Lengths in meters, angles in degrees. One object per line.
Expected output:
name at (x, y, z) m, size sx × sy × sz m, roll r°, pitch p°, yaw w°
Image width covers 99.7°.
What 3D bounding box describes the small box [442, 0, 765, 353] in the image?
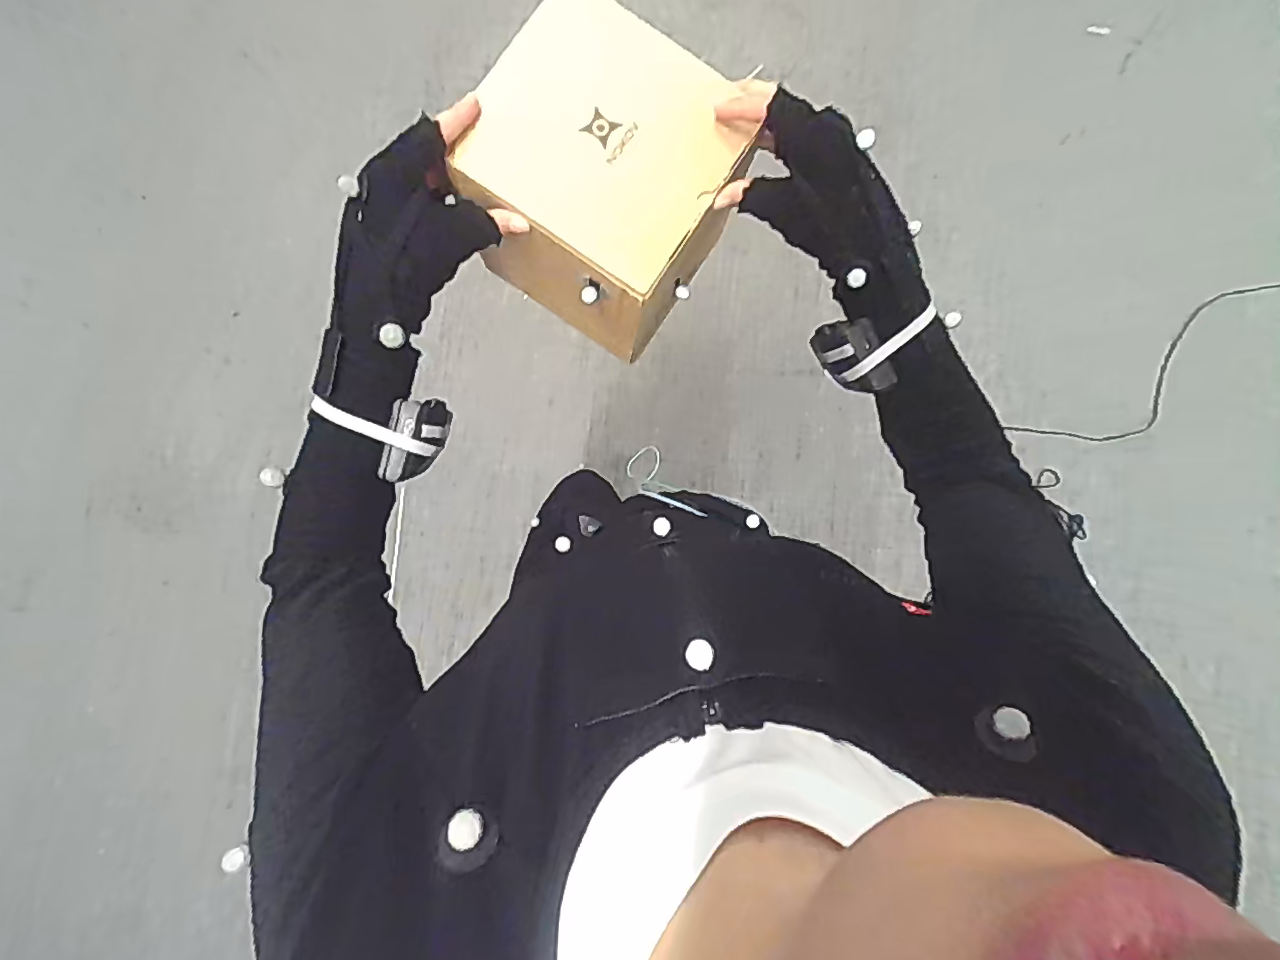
small box at (-0.031, -0.236, 0.464) m, size 0.179 × 0.176 × 0.168 m, roll 35°, pitch 83°, yaw -3°
